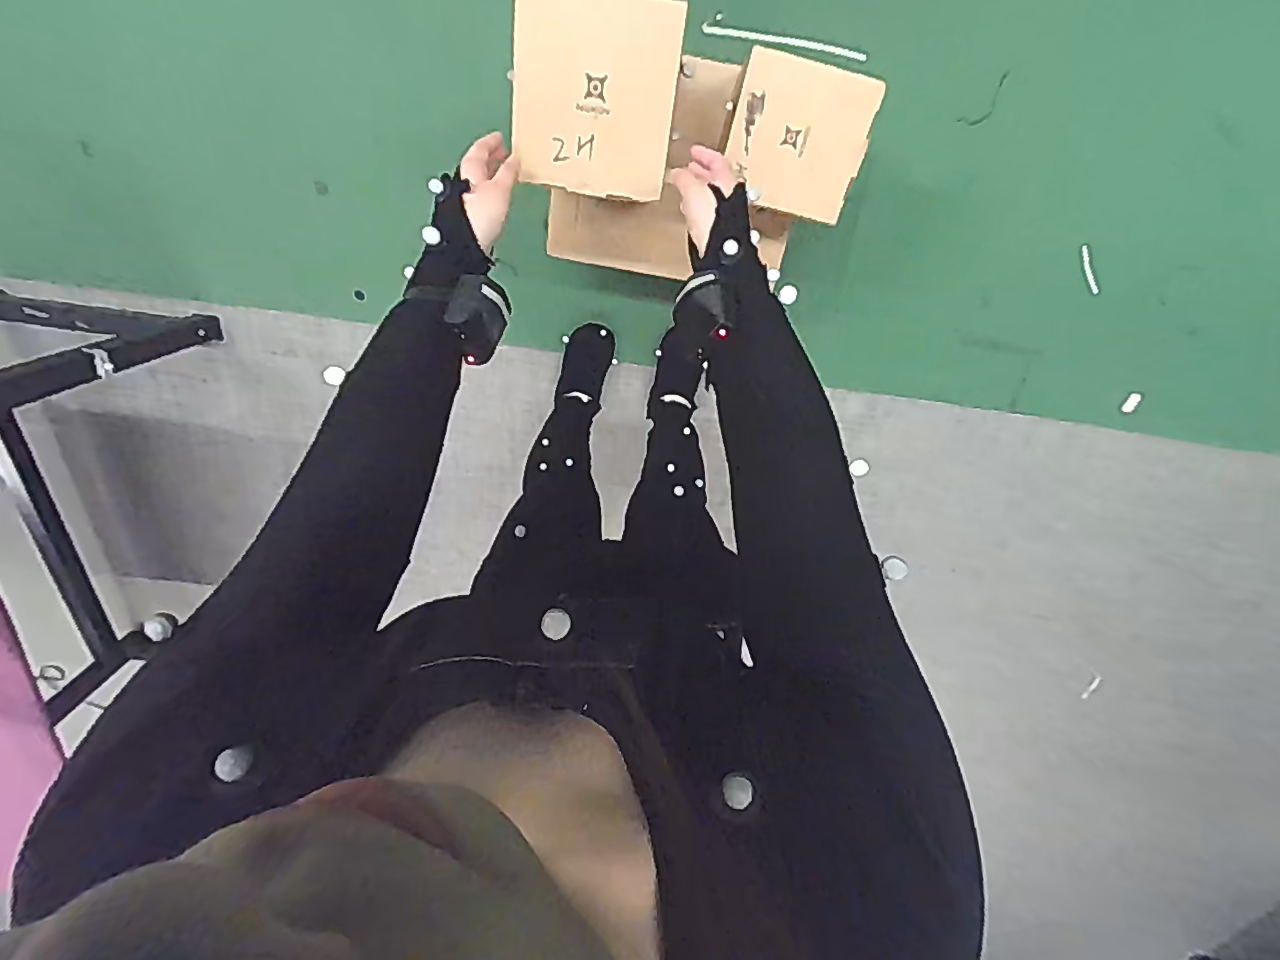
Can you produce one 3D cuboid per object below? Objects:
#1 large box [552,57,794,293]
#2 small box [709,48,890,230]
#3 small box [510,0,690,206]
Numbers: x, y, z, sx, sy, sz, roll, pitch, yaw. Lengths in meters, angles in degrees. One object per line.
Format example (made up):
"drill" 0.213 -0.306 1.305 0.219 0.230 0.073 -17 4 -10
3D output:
"large box" 0.066 -0.555 0.996 0.408 0.320 0.320 9 119 -3
"small box" 0.206 -0.465 0.759 0.179 0.176 0.168 14 117 -4
"small box" -0.044 -0.420 0.611 0.168 0.176 0.179 8 118 -2
